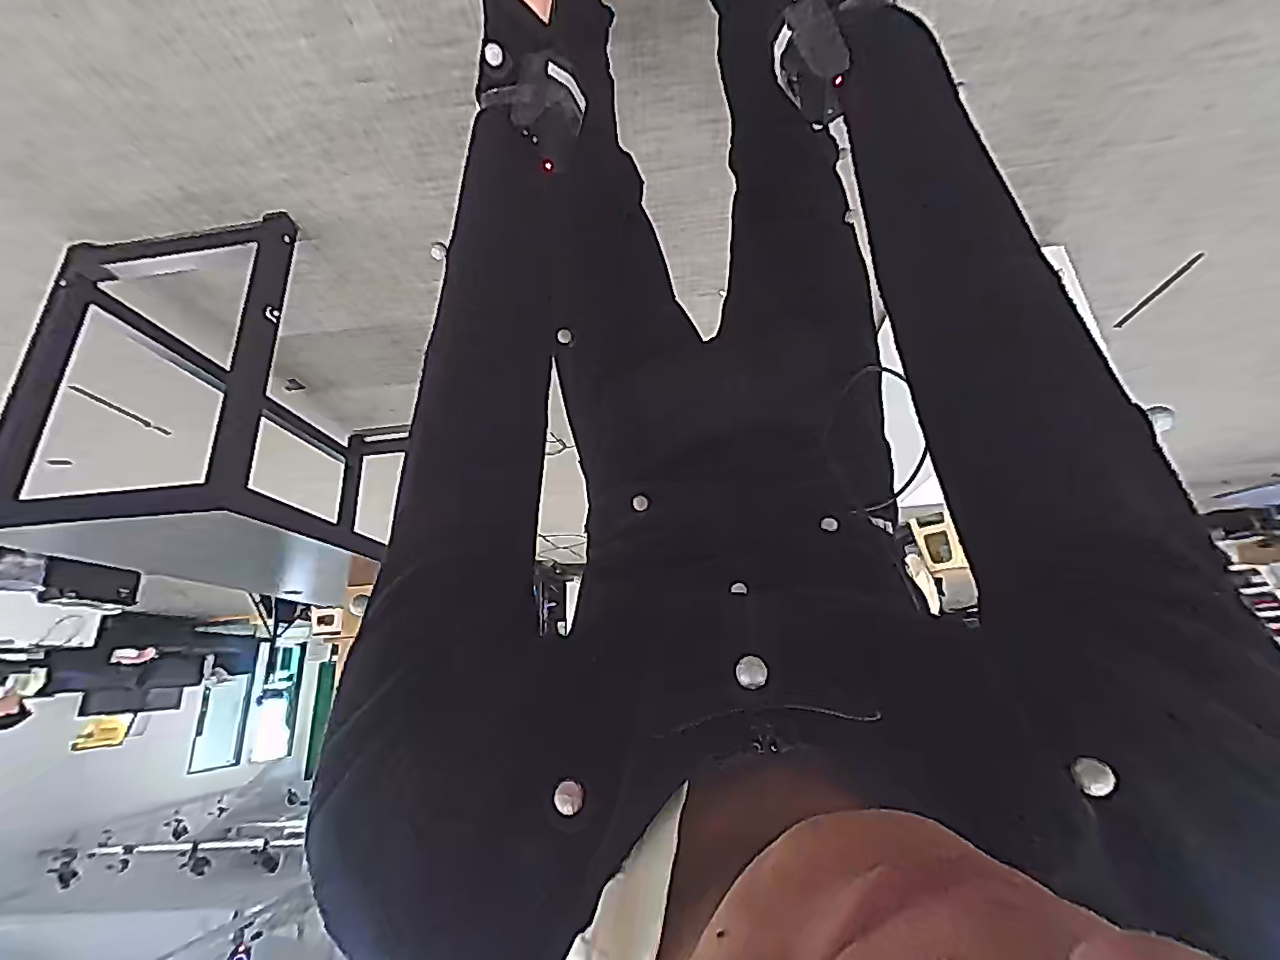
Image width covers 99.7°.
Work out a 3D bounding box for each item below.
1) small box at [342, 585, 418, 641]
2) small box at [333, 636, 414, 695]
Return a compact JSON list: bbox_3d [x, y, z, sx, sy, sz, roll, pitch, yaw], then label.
[{"bbox_3d":[-0.868,0.451,1.821,0.179,0.176,0.168,-6,159,6],"label":"small box"},{"bbox_3d":[-0.860,0.605,1.763,0.179,0.176,0.168,-6,160,5],"label":"small box"}]
